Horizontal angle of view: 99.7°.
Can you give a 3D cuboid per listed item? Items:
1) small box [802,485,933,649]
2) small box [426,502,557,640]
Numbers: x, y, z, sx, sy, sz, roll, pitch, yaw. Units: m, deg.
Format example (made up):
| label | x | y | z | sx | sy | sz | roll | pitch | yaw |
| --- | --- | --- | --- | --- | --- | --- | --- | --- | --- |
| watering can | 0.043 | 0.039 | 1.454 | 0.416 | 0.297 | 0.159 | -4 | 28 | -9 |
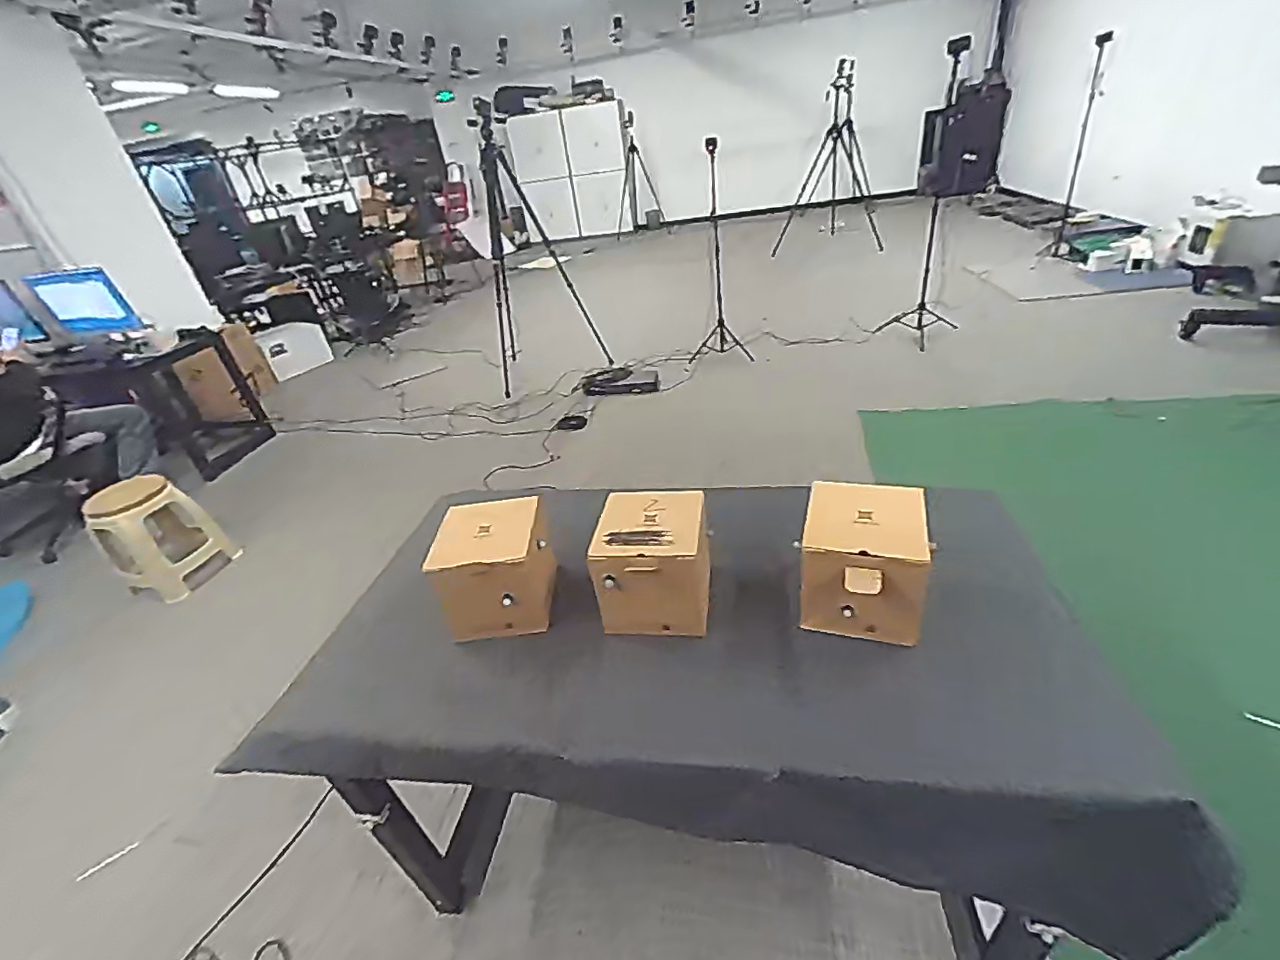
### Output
| label | x | y | z | sx | sy | sz | roll | pitch | yaw |
| --- | --- | --- | --- | --- | --- | --- | --- | --- | --- |
| small box | 0.348 | 0.130 | 0.844 | 0.168 | 0.176 | 0.179 | 5 | 35 | 21 |
| small box | -0.246 | 0.162 | 0.947 | 0.168 | 0.176 | 0.179 | -7 | 31 | 2 |
